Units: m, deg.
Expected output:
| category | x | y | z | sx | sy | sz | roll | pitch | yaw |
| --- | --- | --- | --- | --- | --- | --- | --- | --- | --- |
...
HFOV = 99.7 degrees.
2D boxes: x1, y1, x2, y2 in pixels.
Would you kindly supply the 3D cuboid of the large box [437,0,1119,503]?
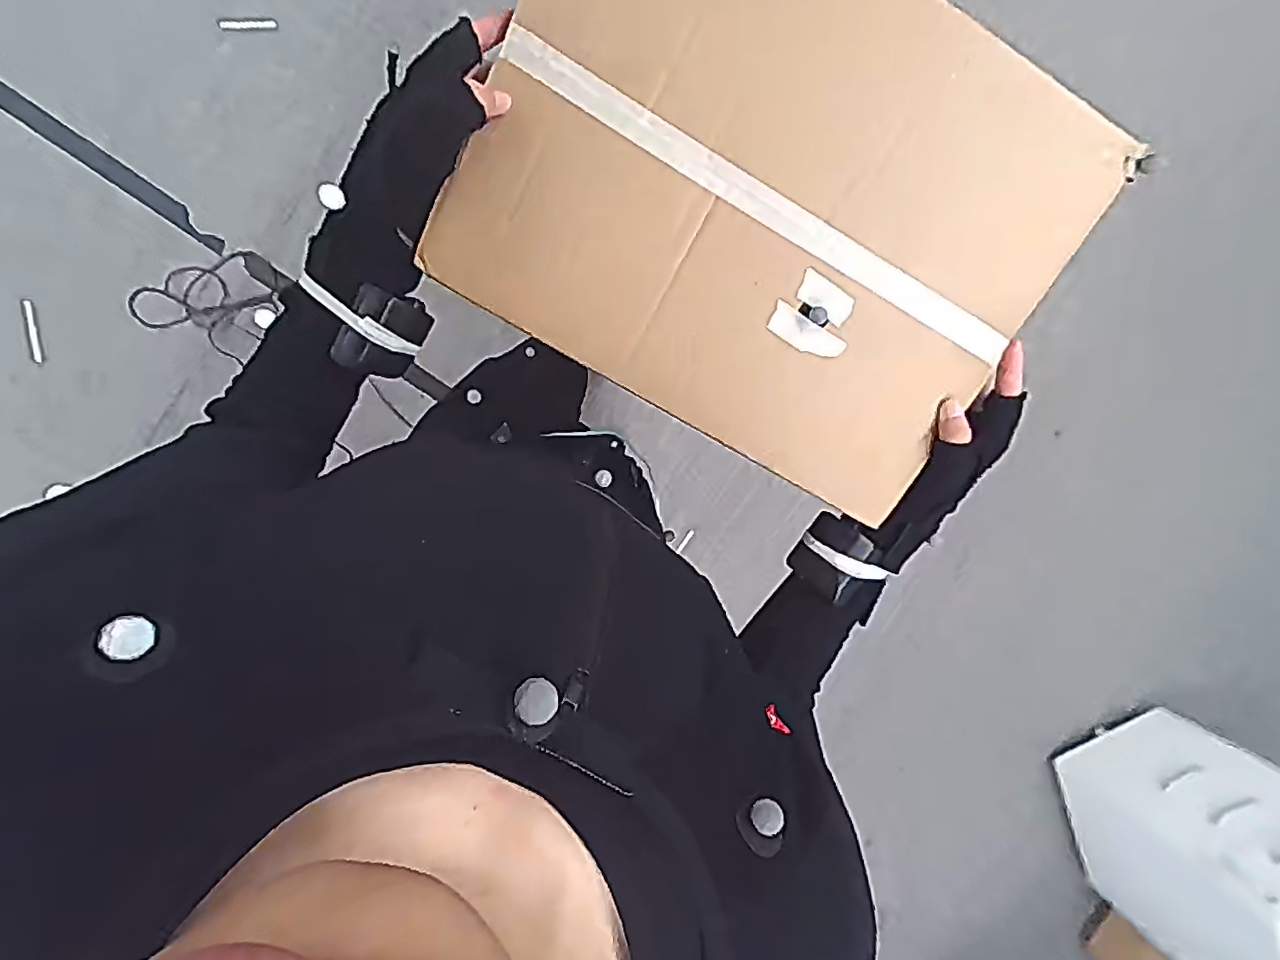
| category | x | y | z | sx | sy | sz | roll | pitch | yaw |
| --- | --- | --- | --- | --- | --- | --- | --- | --- | --- |
| large box | 0.091 | -0.236 | 0.531 | 0.408 | 0.320 | 0.320 | 29 | 104 | -8 |
